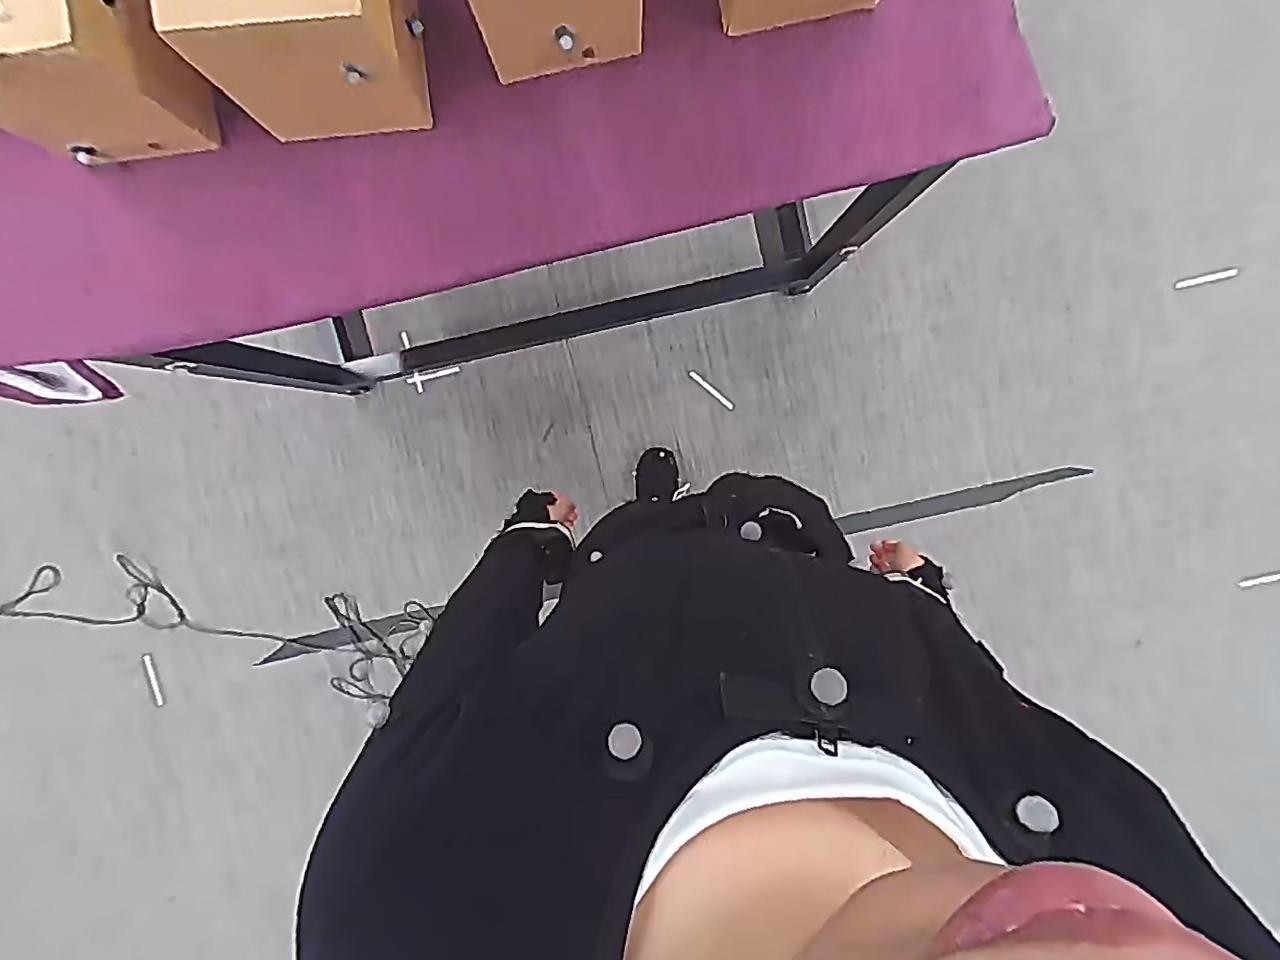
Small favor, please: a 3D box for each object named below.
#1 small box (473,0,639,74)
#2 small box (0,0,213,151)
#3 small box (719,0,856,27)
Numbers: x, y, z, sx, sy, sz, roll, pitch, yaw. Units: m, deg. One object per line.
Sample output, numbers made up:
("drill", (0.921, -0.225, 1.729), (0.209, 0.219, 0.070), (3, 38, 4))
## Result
("small box", (-0.096, -0.550, 0.523), (0.168, 0.176, 0.179), (-12, 94, 1))
("small box", (-0.564, -0.449, 0.524), (0.168, 0.176, 0.179), (-8, 95, -1))
("small box", (0.166, -0.595, 0.522), (0.179, 0.176, 0.168), (-12, 93, 0))
